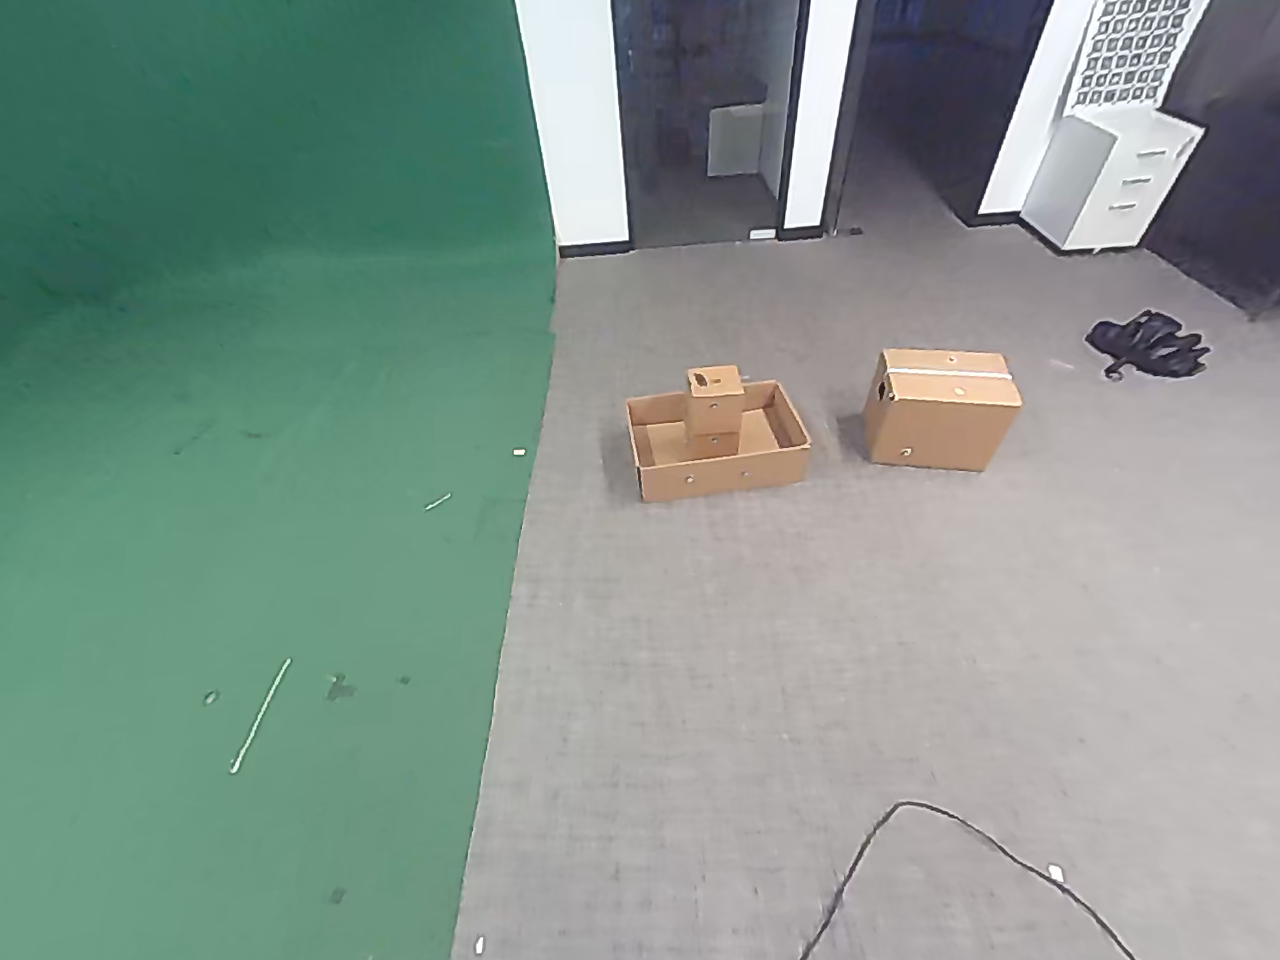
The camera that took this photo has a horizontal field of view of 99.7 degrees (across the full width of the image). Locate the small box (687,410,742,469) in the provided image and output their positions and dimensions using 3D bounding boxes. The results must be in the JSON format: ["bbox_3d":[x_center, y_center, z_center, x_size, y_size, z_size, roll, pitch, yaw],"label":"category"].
[{"bbox_3d":[0.275,-0.157,2.031,0.179,0.176,0.168,-6,46,-3],"label":"small box"}]

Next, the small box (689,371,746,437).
[{"bbox_3d":[0.268,-0.264,1.905,0.179,0.176,0.168,-4,46,-1],"label":"small box"}]
